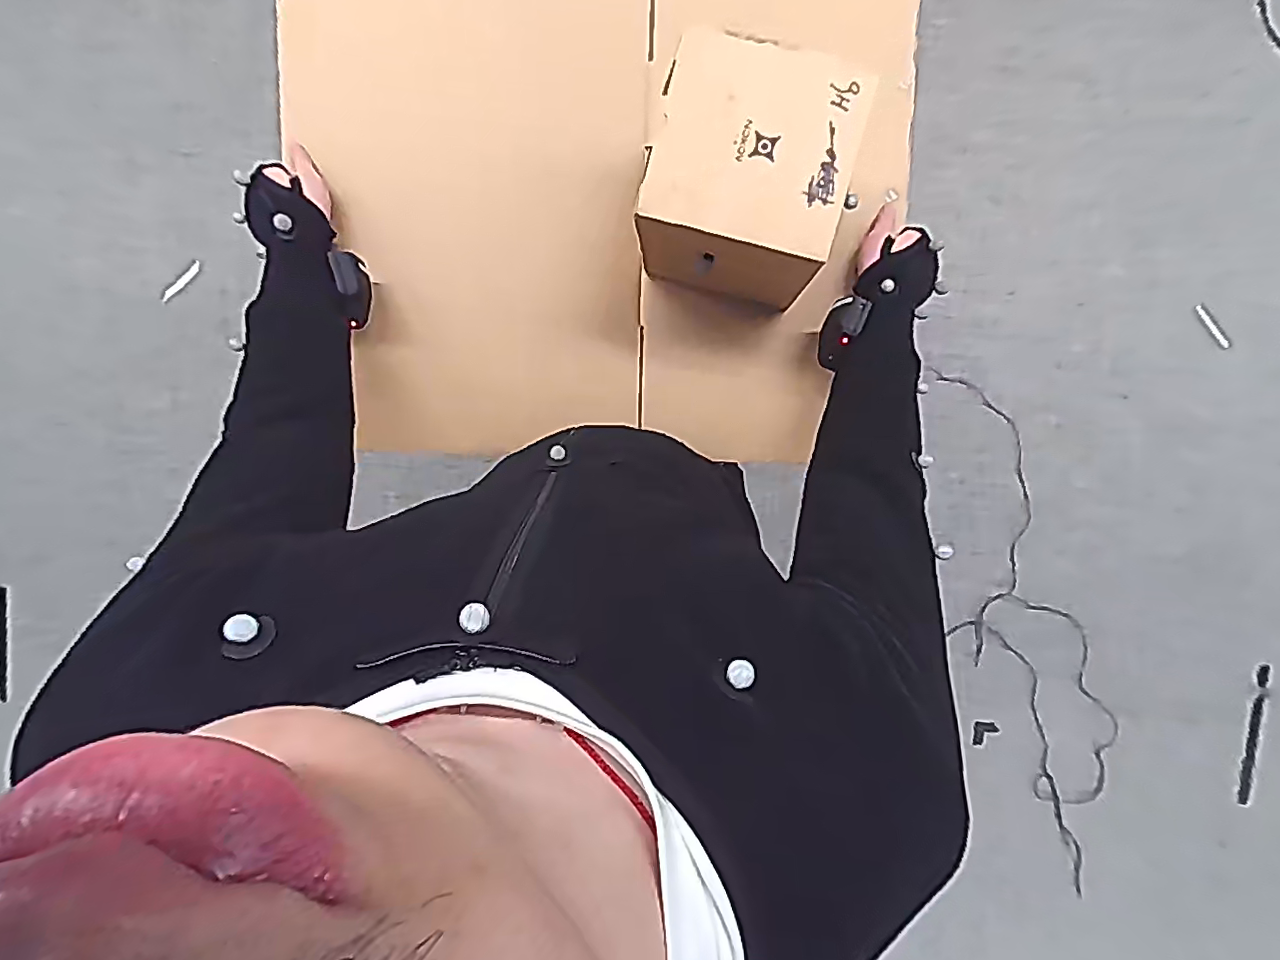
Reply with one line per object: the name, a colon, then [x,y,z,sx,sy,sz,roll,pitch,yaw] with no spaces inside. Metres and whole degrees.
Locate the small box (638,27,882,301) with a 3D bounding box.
small box: [0.109,-0.299,0.550,0.179,0.176,0.168,16,95,4]
